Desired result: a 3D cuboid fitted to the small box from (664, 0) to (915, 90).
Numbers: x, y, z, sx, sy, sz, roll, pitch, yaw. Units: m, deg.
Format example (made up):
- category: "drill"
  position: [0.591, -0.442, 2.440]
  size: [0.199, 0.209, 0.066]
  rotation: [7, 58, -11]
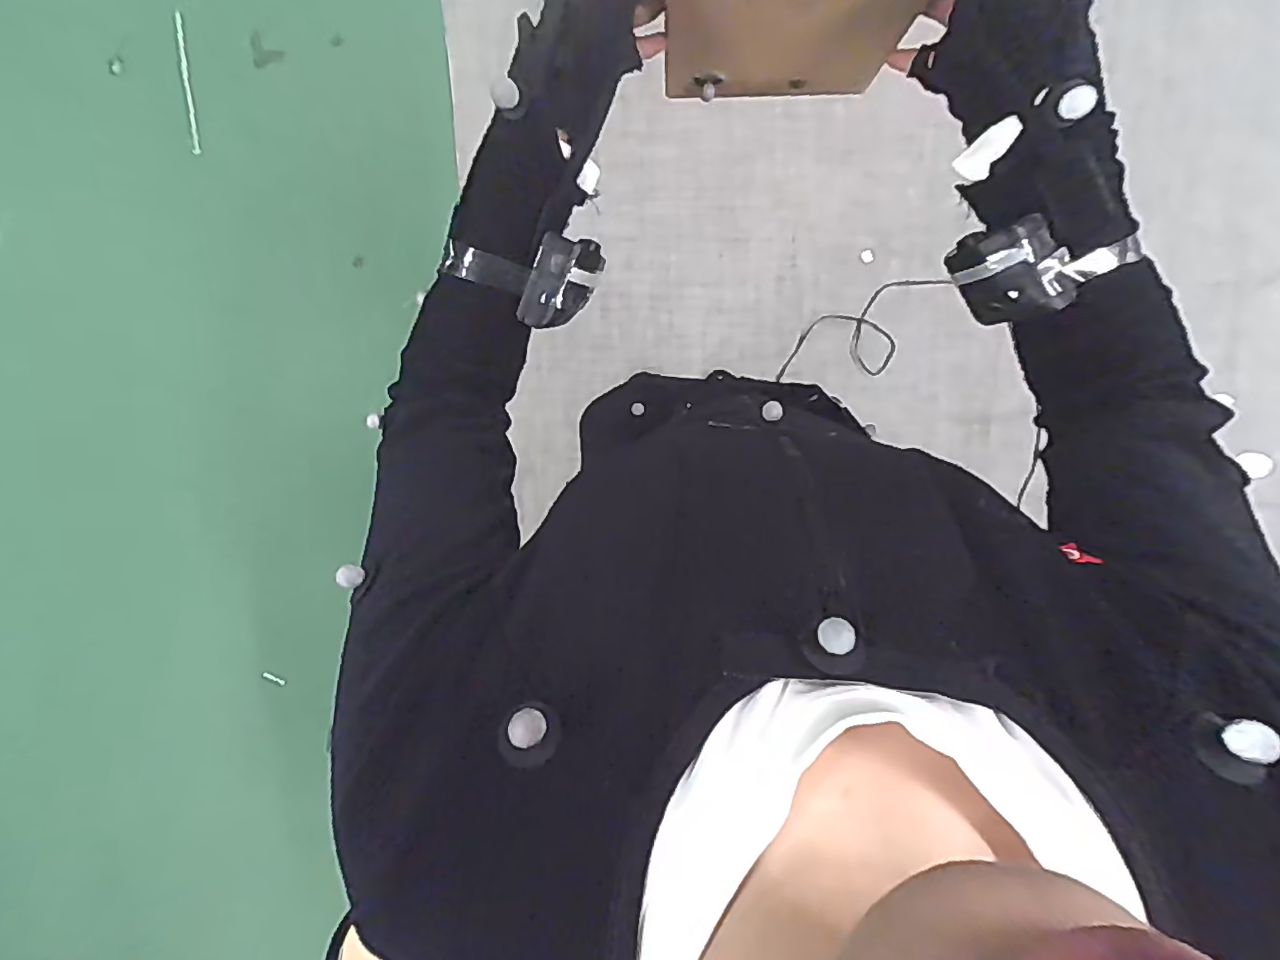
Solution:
- category: "small box"
  position: [0.099, -0.386, 0.352]
  size: [0.168, 0.176, 0.179]
  rotation: [0, 100, 3]
